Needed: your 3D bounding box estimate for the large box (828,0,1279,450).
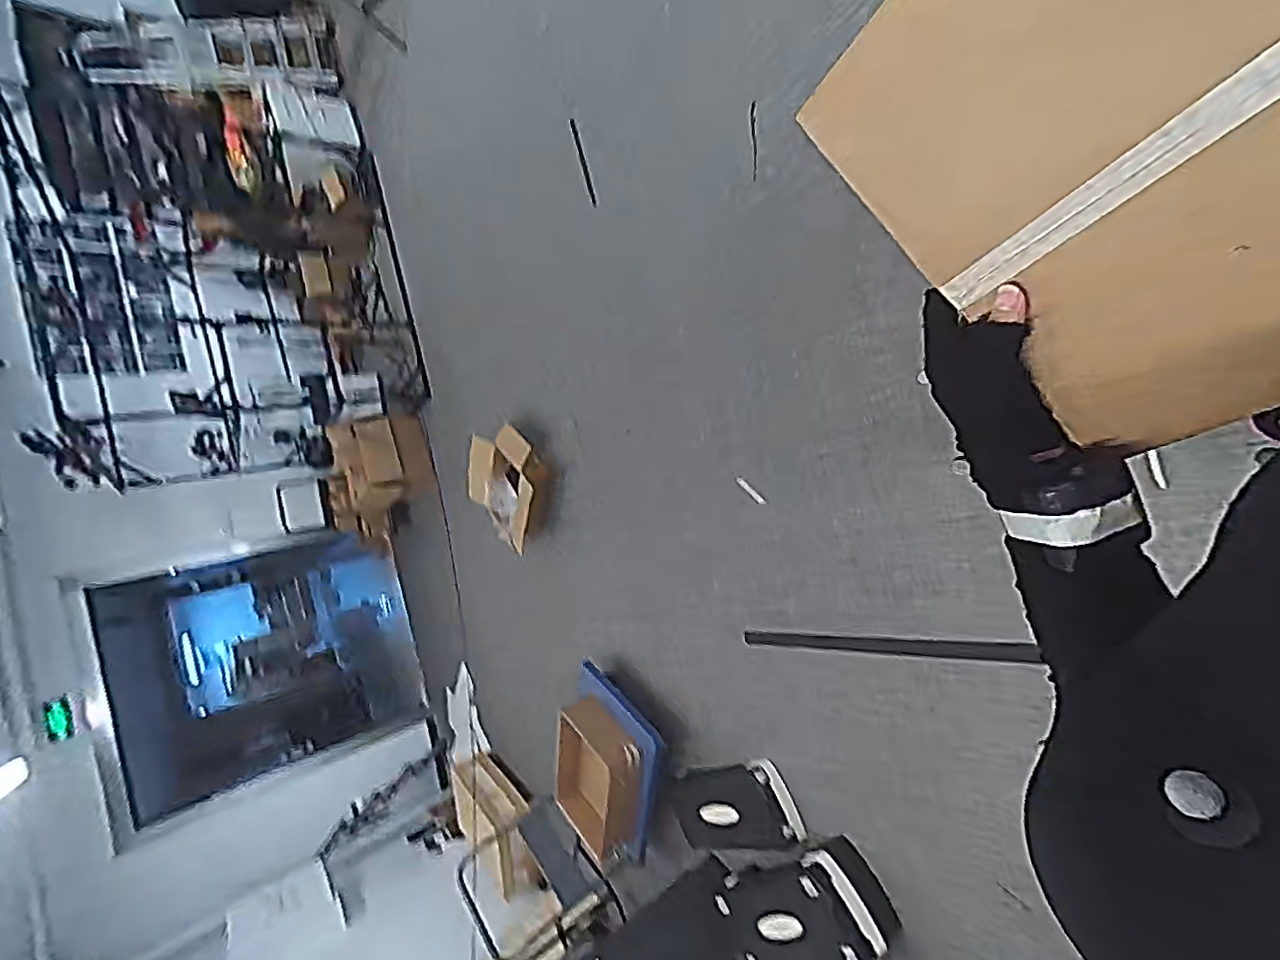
[{"bbox_3d":[0.398,-0.287,0.302,0.320,0.320,0.408,47,142,-4],"label":"large box"}]
